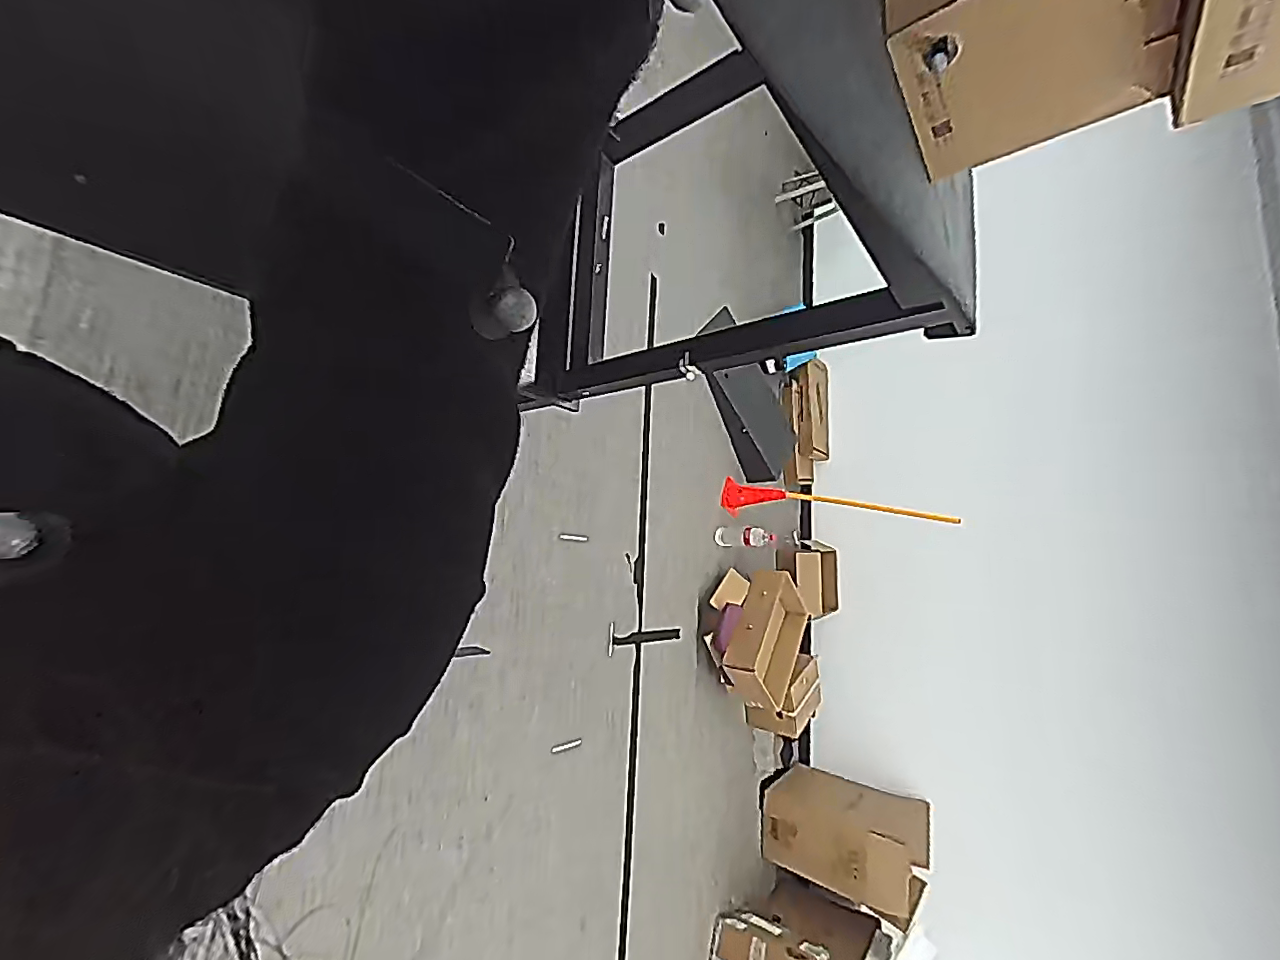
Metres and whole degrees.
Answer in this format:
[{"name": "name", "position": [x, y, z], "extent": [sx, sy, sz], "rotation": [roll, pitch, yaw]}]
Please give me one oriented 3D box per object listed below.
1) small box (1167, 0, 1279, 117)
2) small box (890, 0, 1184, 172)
[{"name": "small box", "position": [0.427, -0.369, 0.318], "extent": [0.168, 0.176, 0.179], "rotation": [11, 77, -52]}, {"name": "small box", "position": [0.300, -0.389, 0.422], "extent": [0.168, 0.176, 0.179], "rotation": [20, 69, -50]}]
